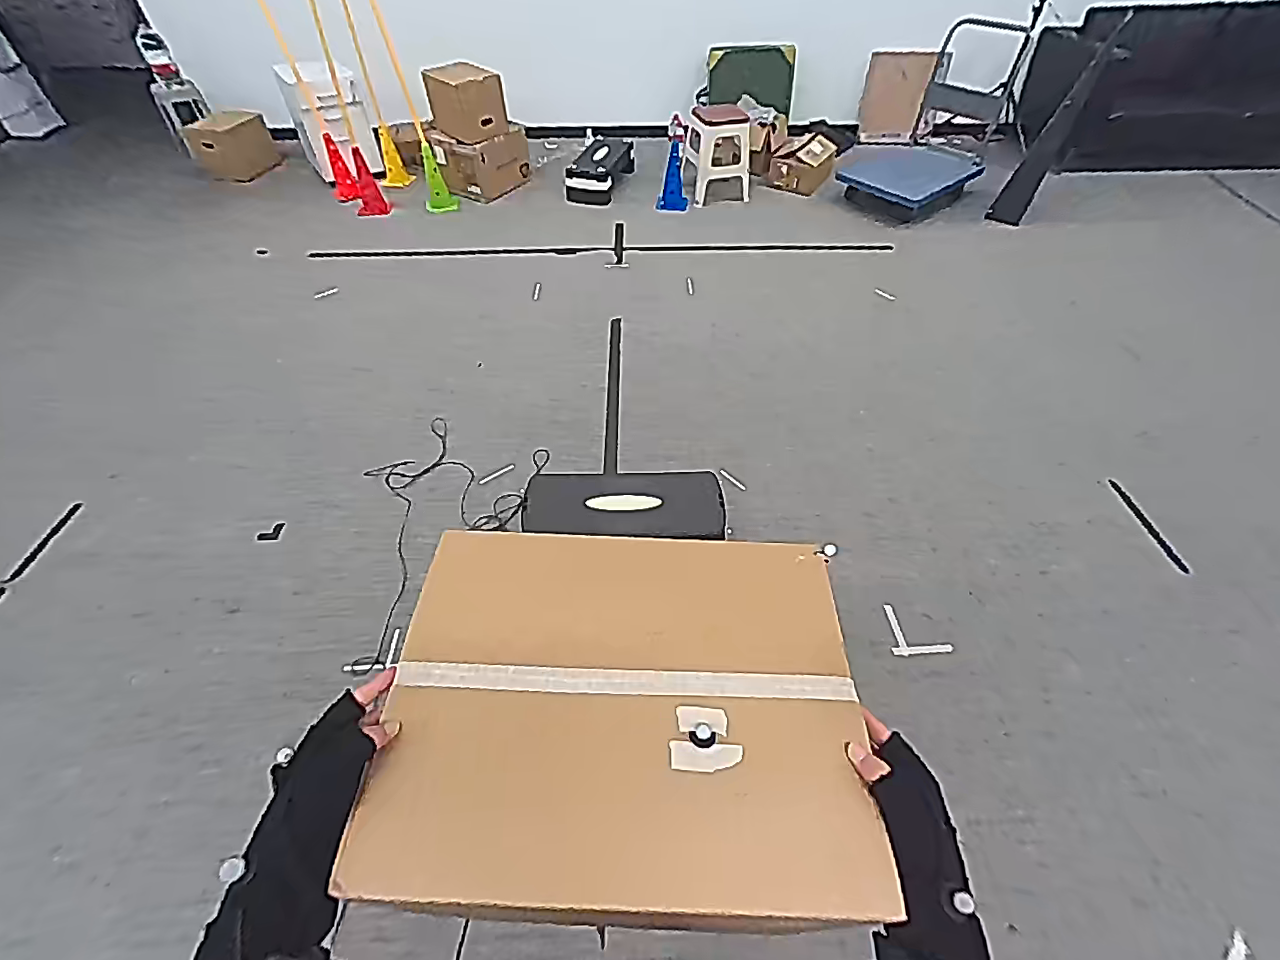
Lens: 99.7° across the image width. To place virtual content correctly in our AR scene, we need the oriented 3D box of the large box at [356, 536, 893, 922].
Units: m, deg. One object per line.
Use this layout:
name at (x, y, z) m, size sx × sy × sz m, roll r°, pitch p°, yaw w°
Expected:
large box at (-0.013, 0.280, 0.601) m, size 0.408 × 0.320 × 0.320 m, roll 3°, pitch 49°, yaw 0°
